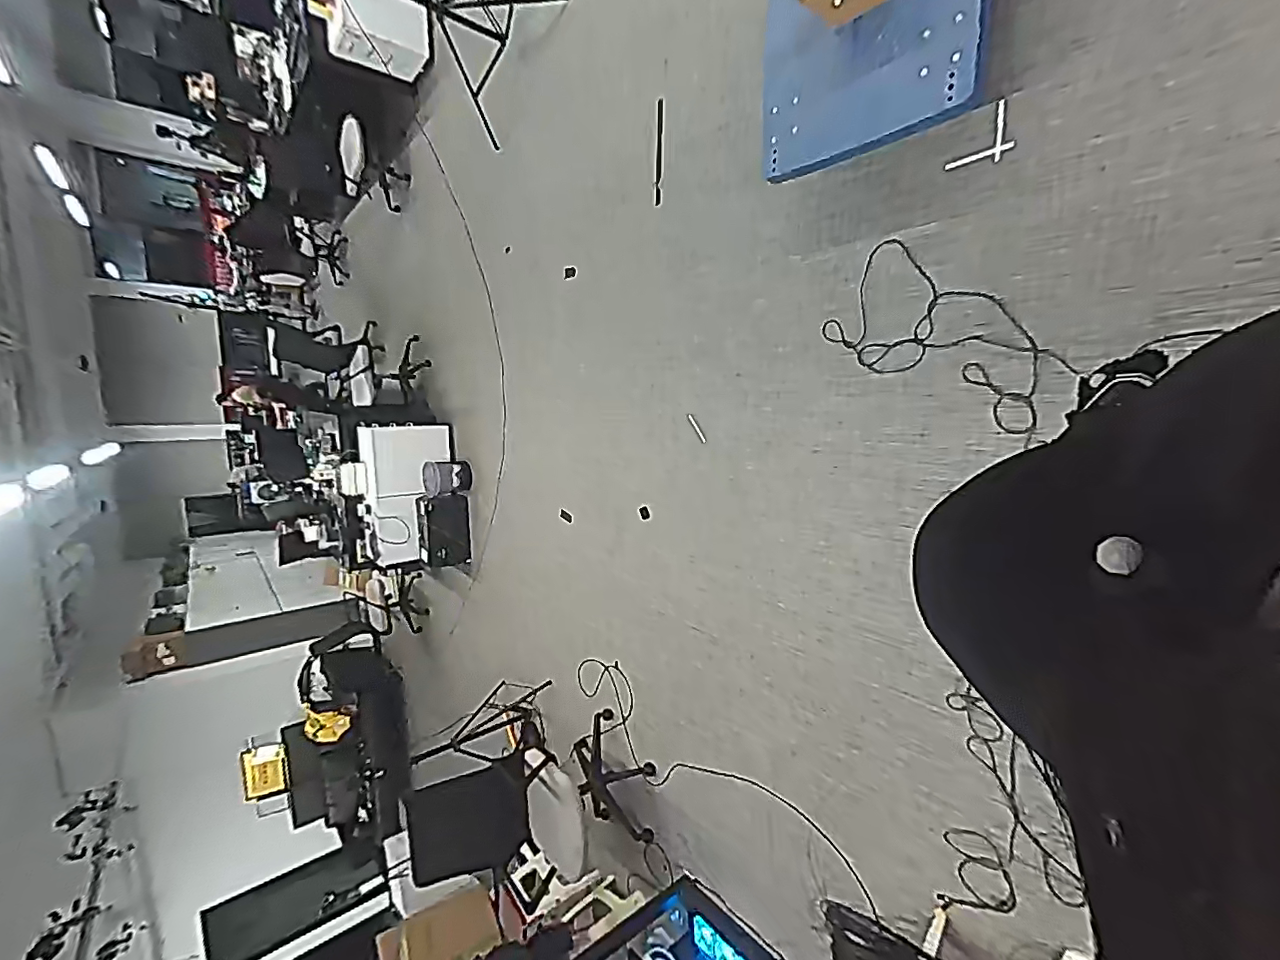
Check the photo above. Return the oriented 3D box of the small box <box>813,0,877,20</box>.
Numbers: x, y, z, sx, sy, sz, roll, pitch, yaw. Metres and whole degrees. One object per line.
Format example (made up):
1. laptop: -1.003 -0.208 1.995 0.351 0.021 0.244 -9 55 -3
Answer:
1. small box: 0.502 -1.243 1.274 0.179 0.176 0.168 13 106 51
